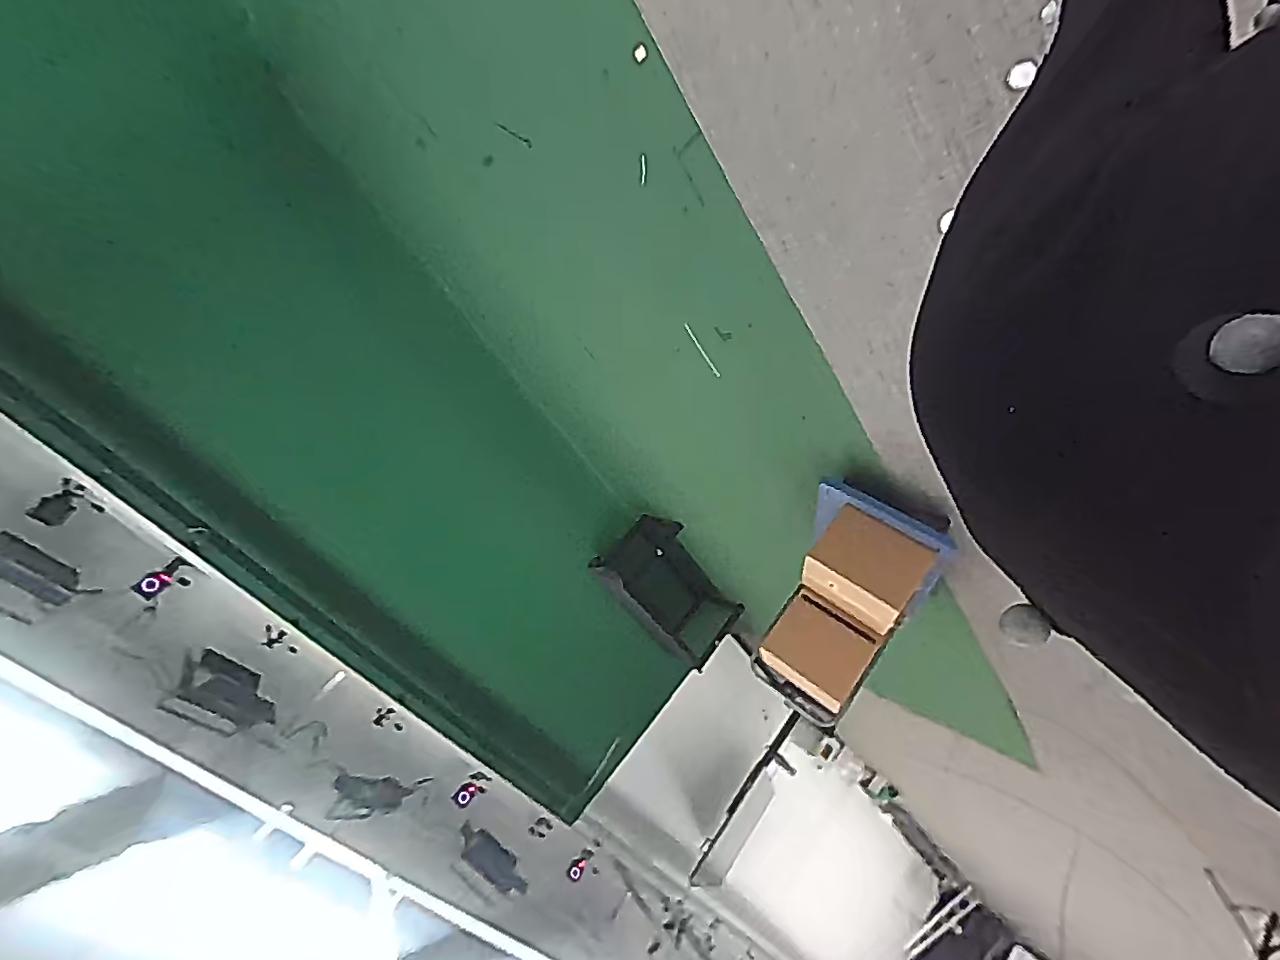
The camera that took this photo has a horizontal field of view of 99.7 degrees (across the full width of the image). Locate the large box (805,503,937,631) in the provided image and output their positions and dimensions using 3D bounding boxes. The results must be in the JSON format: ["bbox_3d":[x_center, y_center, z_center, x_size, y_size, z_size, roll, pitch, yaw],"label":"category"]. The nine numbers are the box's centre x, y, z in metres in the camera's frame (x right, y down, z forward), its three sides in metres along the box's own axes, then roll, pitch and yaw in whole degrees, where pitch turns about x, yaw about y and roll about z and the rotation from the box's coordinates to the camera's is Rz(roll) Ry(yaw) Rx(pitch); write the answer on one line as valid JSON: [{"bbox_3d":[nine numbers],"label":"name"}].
[{"bbox_3d":[0.968,0.369,2.302,0.408,0.320,0.320,34,161,27],"label":"large box"}]
